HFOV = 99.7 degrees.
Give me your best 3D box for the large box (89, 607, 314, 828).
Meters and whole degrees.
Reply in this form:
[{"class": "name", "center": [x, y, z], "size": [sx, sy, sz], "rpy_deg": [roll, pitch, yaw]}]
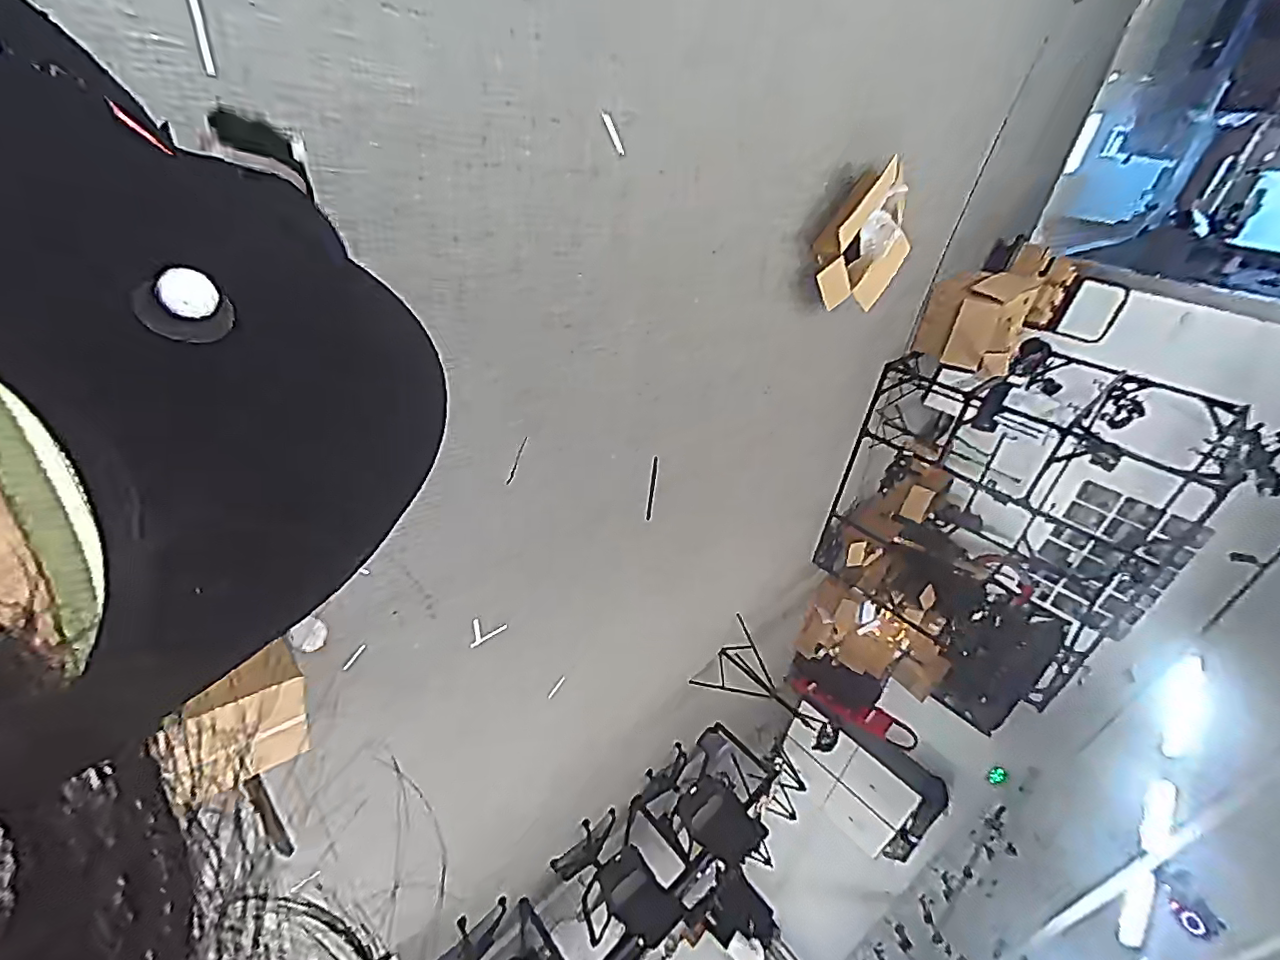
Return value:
[{"class": "large box", "center": [-1.172, 0.615, 1.474], "size": [0.408, 0.320, 0.320], "rpy_deg": [-17, 130, -44]}]
